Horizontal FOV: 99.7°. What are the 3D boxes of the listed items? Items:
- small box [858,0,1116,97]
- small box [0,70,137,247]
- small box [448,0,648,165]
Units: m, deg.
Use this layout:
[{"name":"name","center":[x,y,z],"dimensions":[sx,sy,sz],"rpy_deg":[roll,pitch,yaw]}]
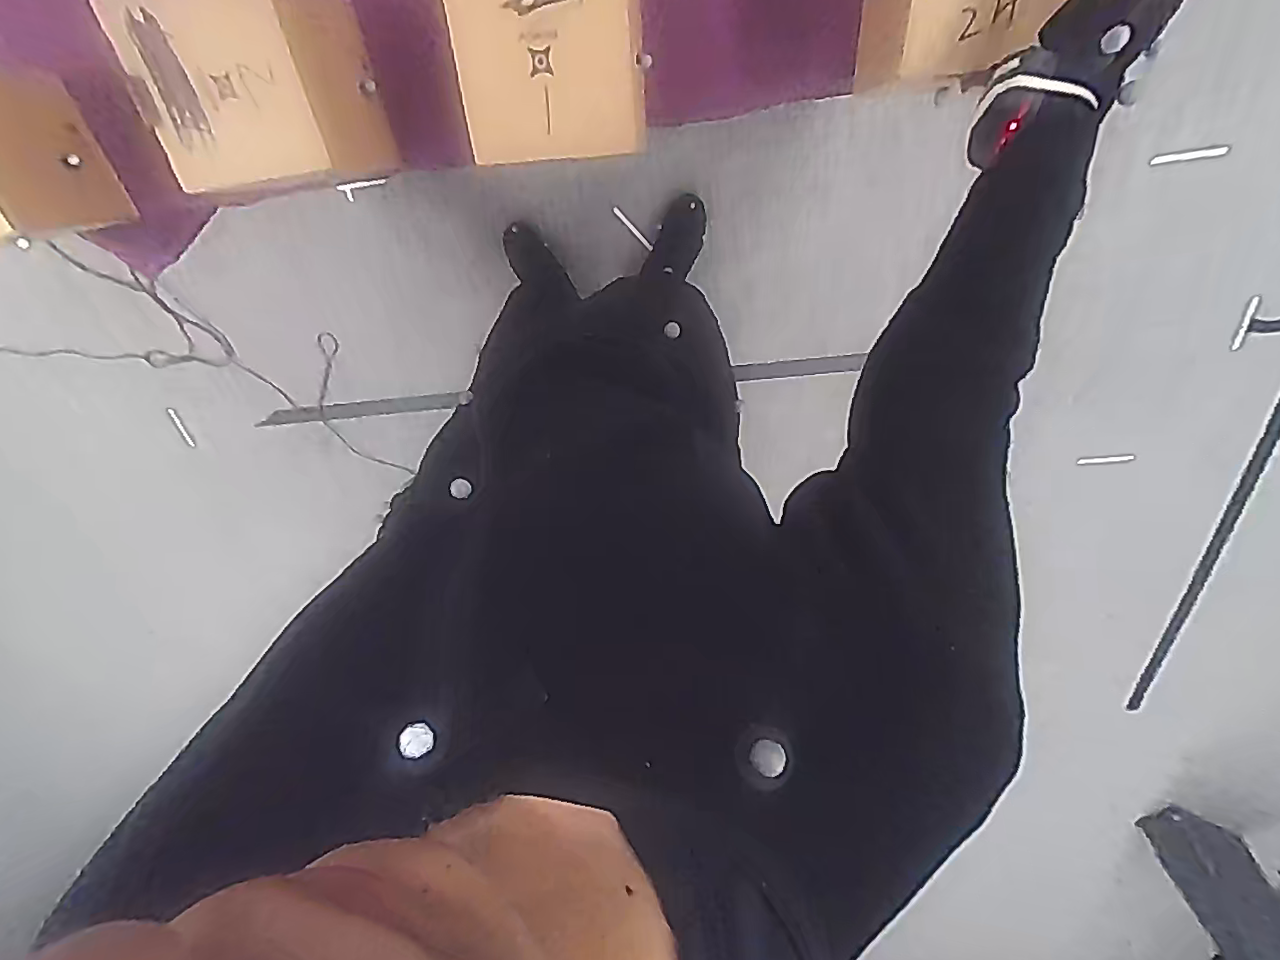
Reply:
[{"name":"small box","center":[0.314,-0.472,0.498],"dimensions":[0.168,0.176,0.179],"rpy_deg":[0,121,6]},{"name":"small box","center":[-0.791,-0.380,0.654],"dimensions":[0.179,0.176,0.168],"rpy_deg":[-8,121,8]},{"name":"small box","center":[-0.081,-0.433,0.559],"dimensions":[0.168,0.176,0.179],"rpy_deg":[-1,122,6]}]
